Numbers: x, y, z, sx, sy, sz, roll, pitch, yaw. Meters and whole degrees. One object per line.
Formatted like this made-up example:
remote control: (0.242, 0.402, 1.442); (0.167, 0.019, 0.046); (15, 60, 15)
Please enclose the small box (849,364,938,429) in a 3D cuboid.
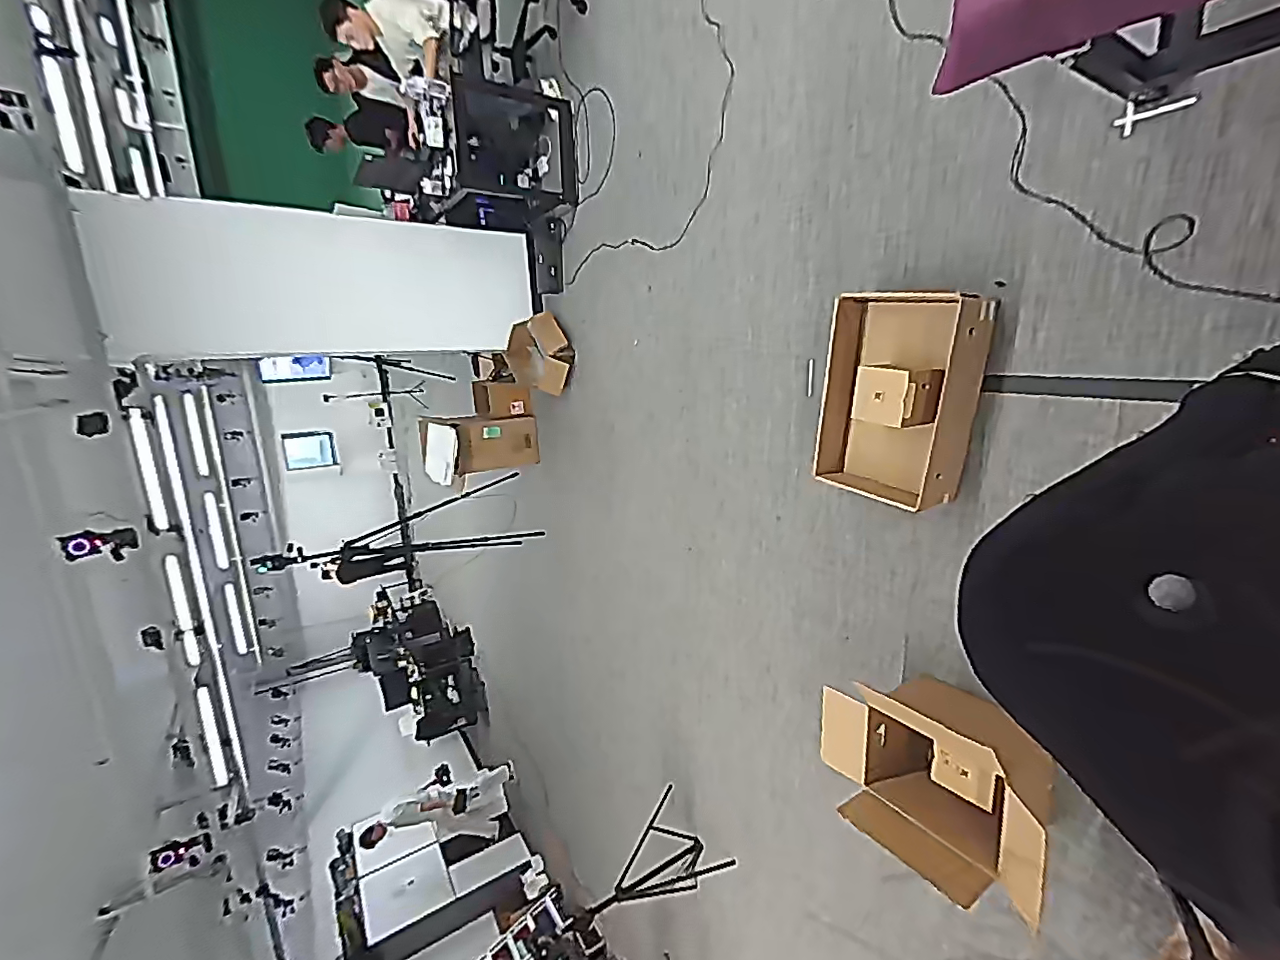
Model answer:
small box: (0.773, -0.260, 1.646); (0.179, 0.176, 0.168); (27, 120, 53)
